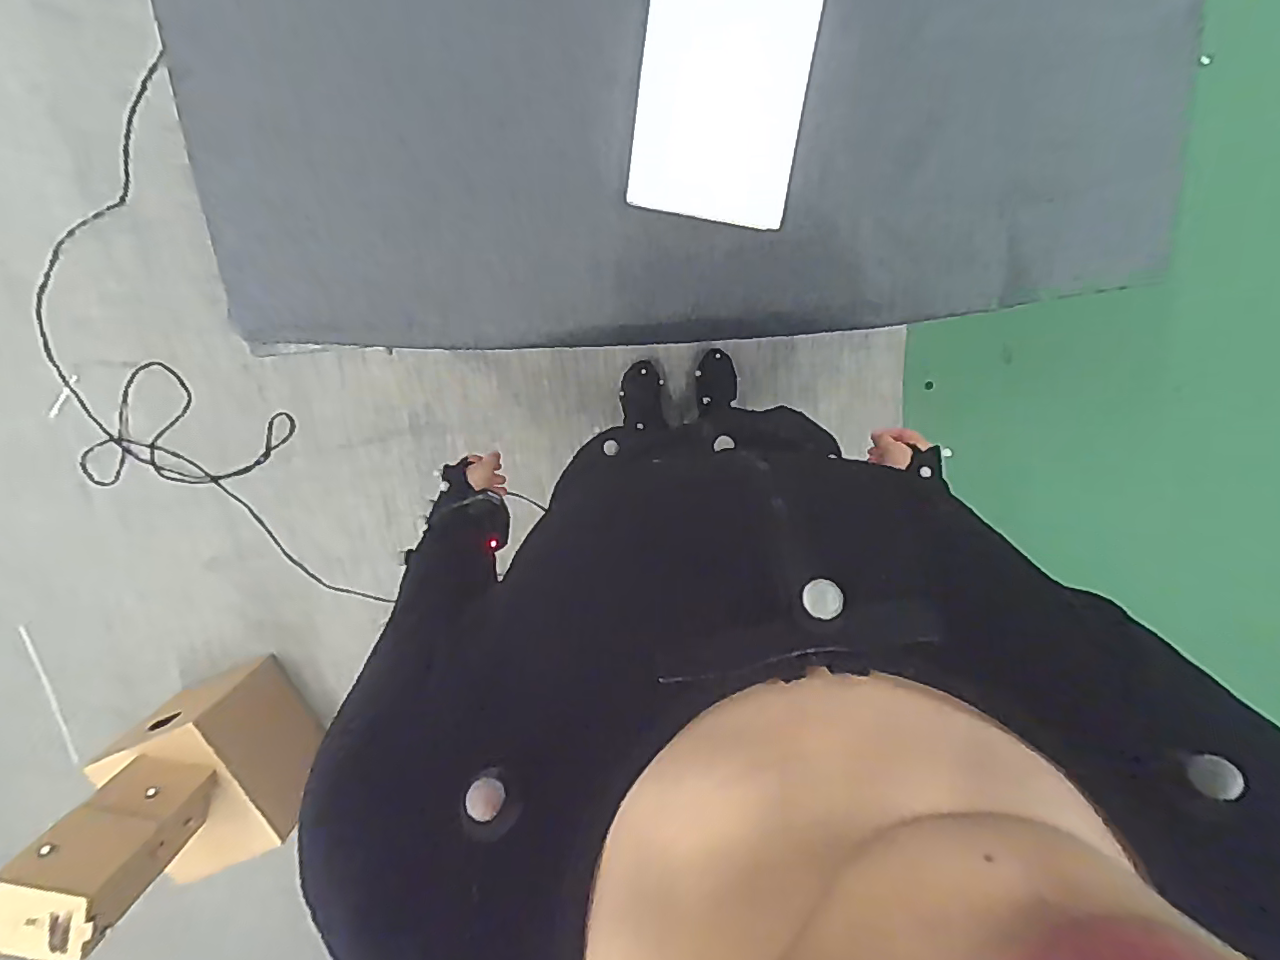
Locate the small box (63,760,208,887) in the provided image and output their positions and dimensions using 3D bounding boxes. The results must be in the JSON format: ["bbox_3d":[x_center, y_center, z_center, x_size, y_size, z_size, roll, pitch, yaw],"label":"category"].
[{"bbox_3d":[-1.137,0.774,1.232,0.179,0.176,0.168,16,101,-8],"label":"small box"}]
